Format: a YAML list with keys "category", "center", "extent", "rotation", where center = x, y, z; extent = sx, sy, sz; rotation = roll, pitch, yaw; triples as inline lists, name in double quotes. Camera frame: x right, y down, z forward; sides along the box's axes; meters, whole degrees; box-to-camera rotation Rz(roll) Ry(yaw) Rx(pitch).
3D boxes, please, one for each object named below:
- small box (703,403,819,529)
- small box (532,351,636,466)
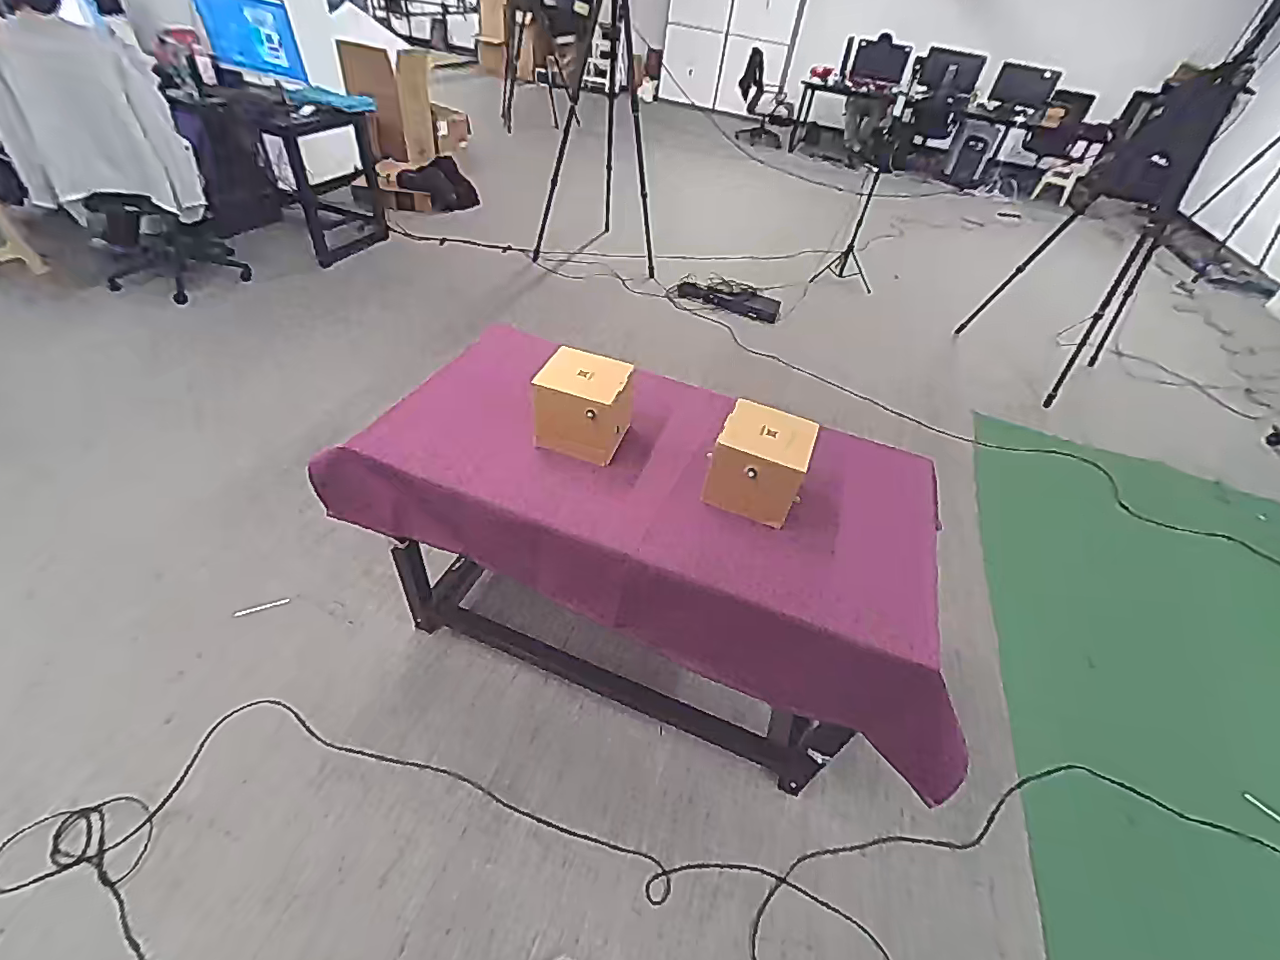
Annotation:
- category: "small box"
  center: [0.243, -0.026, 1.111]
  extent: [0.179, 0.176, 0.168]
  rotation: [21, 45, 12]
- category: "small box"
  center: [-0.124, -0.154, 1.188]
  extent: [0.179, 0.176, 0.168]
  rotation: [17, 43, 7]
